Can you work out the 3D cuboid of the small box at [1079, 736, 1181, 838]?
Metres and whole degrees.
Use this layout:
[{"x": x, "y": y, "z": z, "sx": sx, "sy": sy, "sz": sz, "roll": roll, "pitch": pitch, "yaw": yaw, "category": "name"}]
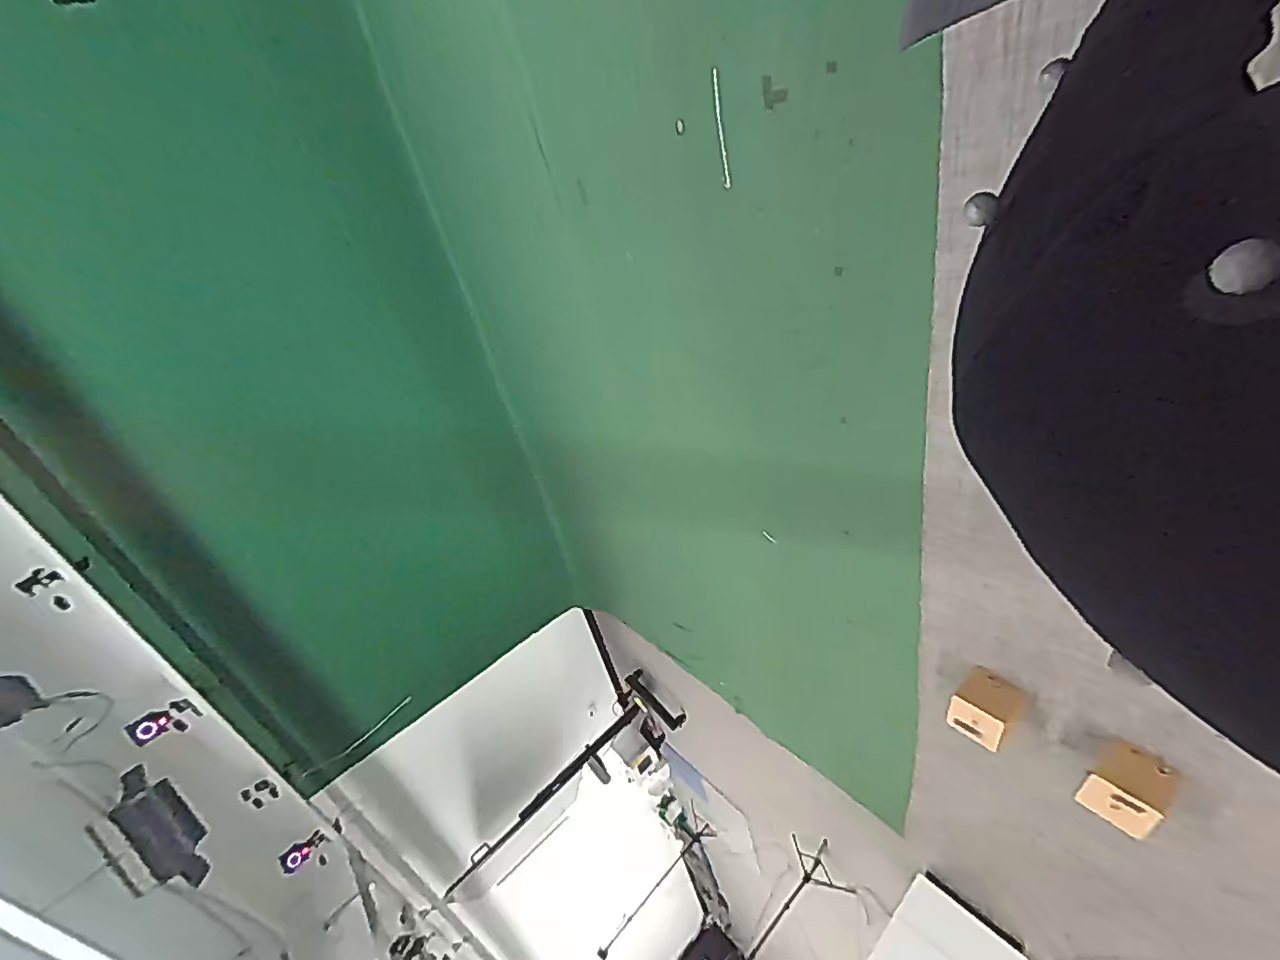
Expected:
[{"x": 1.466, "y": 0.908, "z": 1.615, "sx": 0.168, "sy": 0.176, "sz": 0.179, "roll": 30, "pitch": 143, "yaw": 42, "category": "small box"}]
